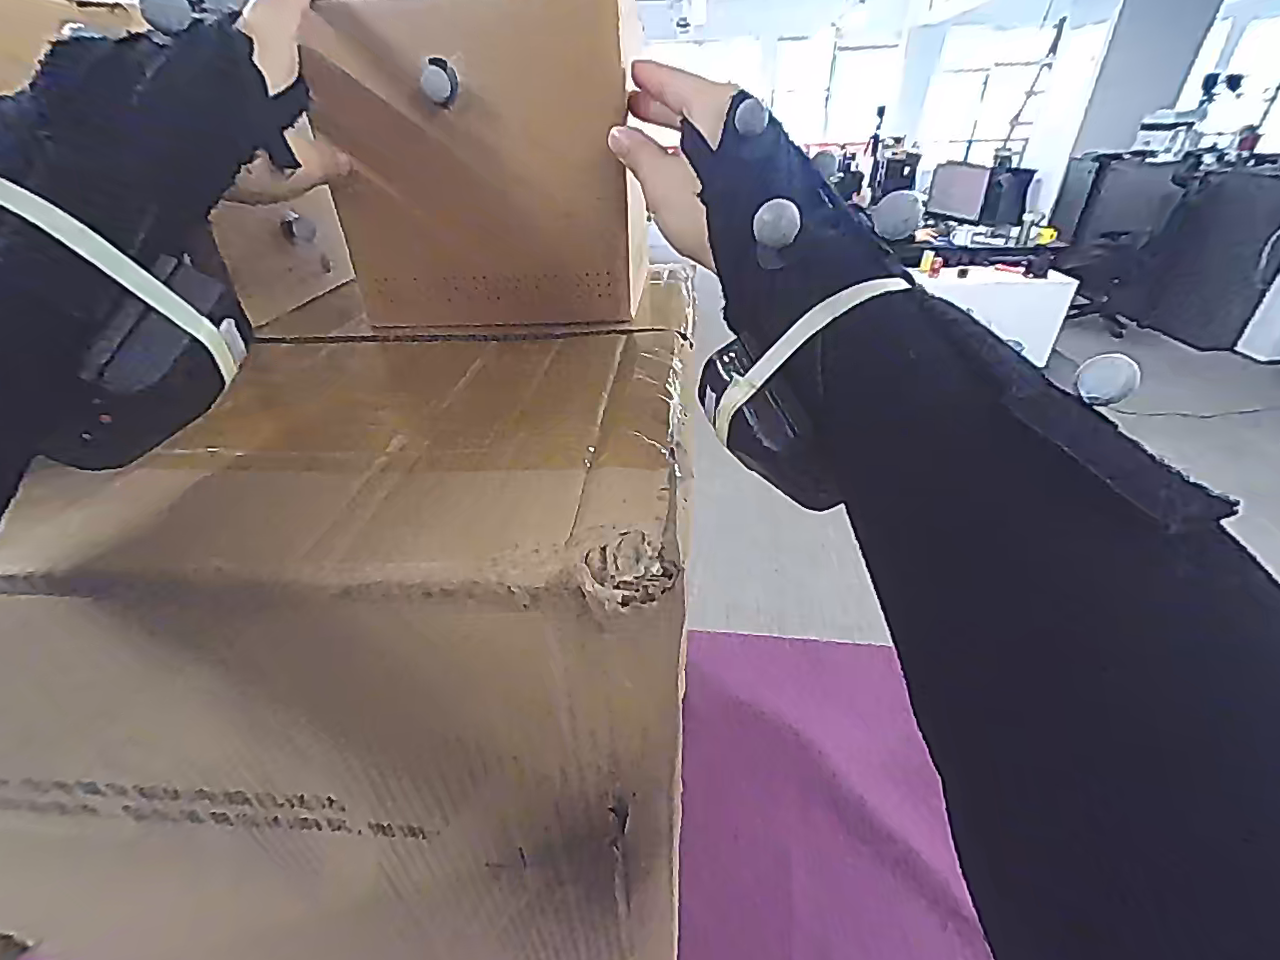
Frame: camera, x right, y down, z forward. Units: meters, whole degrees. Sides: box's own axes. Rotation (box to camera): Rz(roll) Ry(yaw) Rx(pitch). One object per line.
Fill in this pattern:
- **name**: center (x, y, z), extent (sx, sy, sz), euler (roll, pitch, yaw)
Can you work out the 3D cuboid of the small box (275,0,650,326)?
- **small box**: center (-0.085, -0.211, 0.368), extent (0.179, 0.176, 0.168), euler (0, 33, 5)
